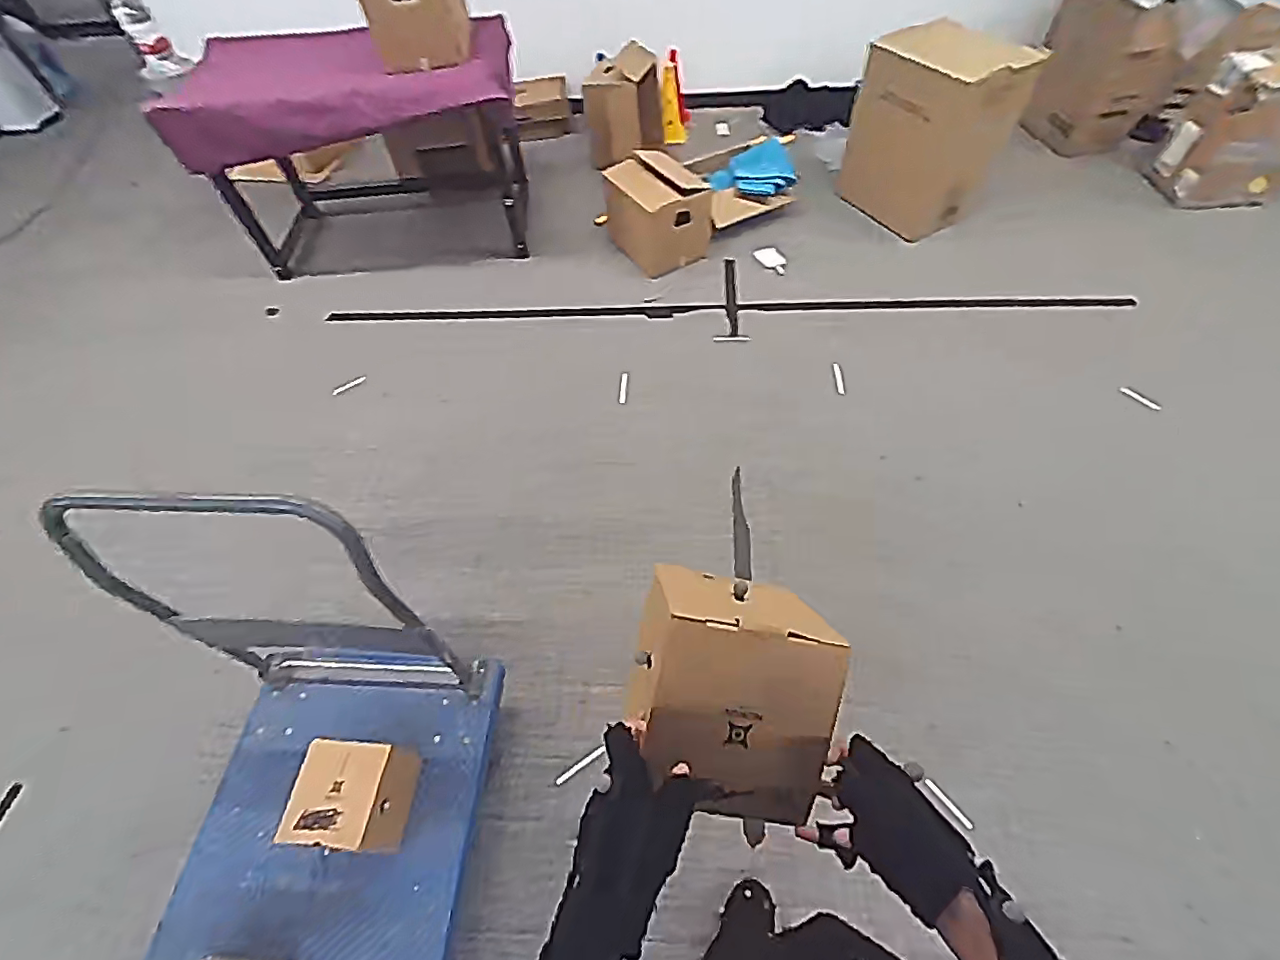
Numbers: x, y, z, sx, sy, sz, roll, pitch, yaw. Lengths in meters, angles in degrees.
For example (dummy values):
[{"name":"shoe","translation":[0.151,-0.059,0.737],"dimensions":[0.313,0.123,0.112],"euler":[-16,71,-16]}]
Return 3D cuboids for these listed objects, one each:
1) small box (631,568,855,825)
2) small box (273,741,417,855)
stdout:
[{"name":"small box","translation":[0.087,0.203,0.554],"dimensions":[0.168,0.176,0.179],"euler":[13,95,-4]},{"name":"small box","translation":[-0.573,0.638,1.082],"dimensions":[0.168,0.176,0.179],"euler":[2,54,6]}]
